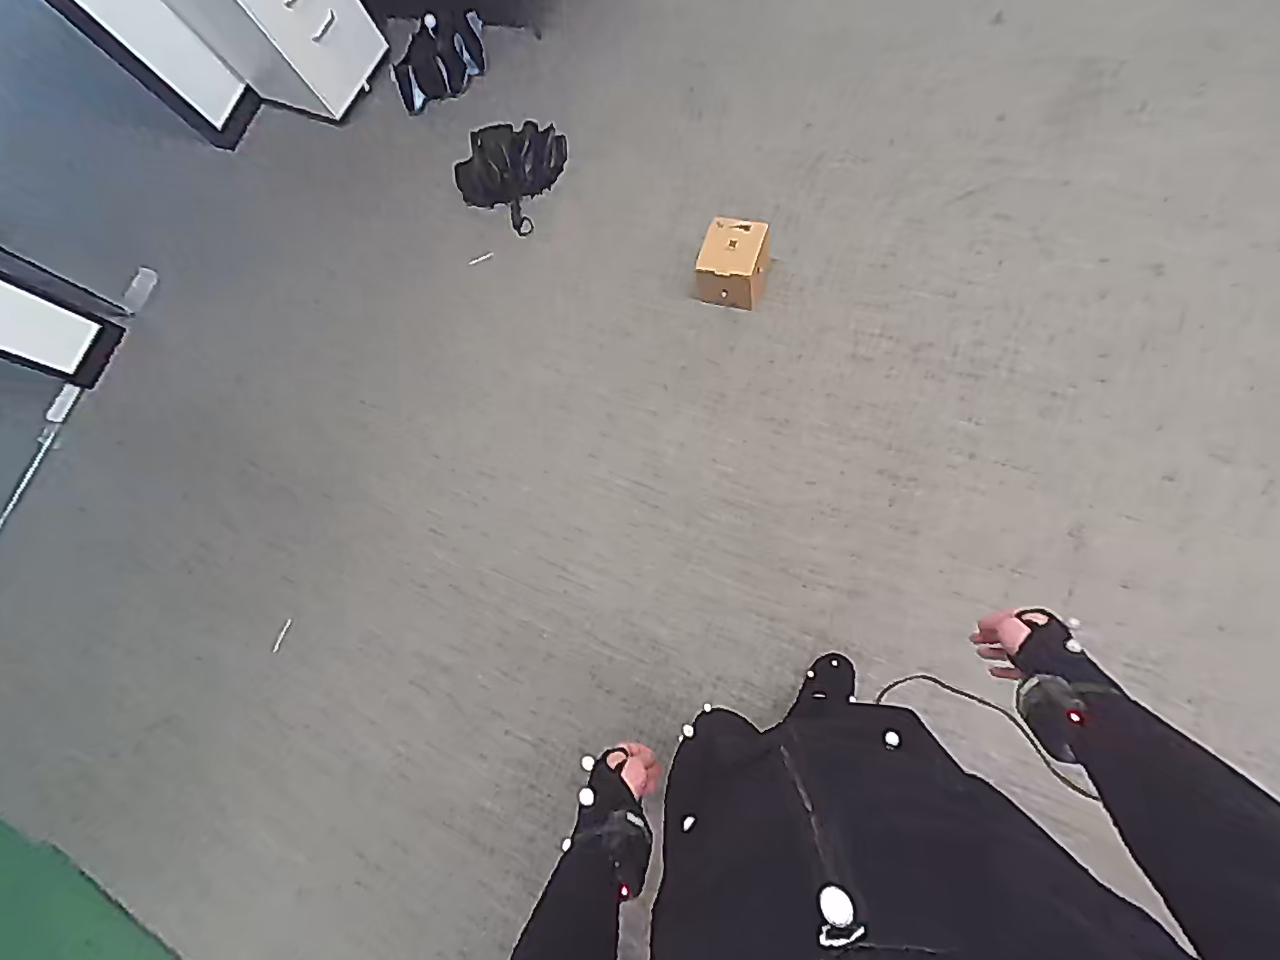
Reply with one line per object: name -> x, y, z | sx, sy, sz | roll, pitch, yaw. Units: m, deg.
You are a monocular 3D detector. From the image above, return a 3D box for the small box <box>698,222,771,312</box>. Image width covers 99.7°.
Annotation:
small box -> 0.284, -0.619, 1.585 | 0.168, 0.176, 0.179 | 17, 80, 18
